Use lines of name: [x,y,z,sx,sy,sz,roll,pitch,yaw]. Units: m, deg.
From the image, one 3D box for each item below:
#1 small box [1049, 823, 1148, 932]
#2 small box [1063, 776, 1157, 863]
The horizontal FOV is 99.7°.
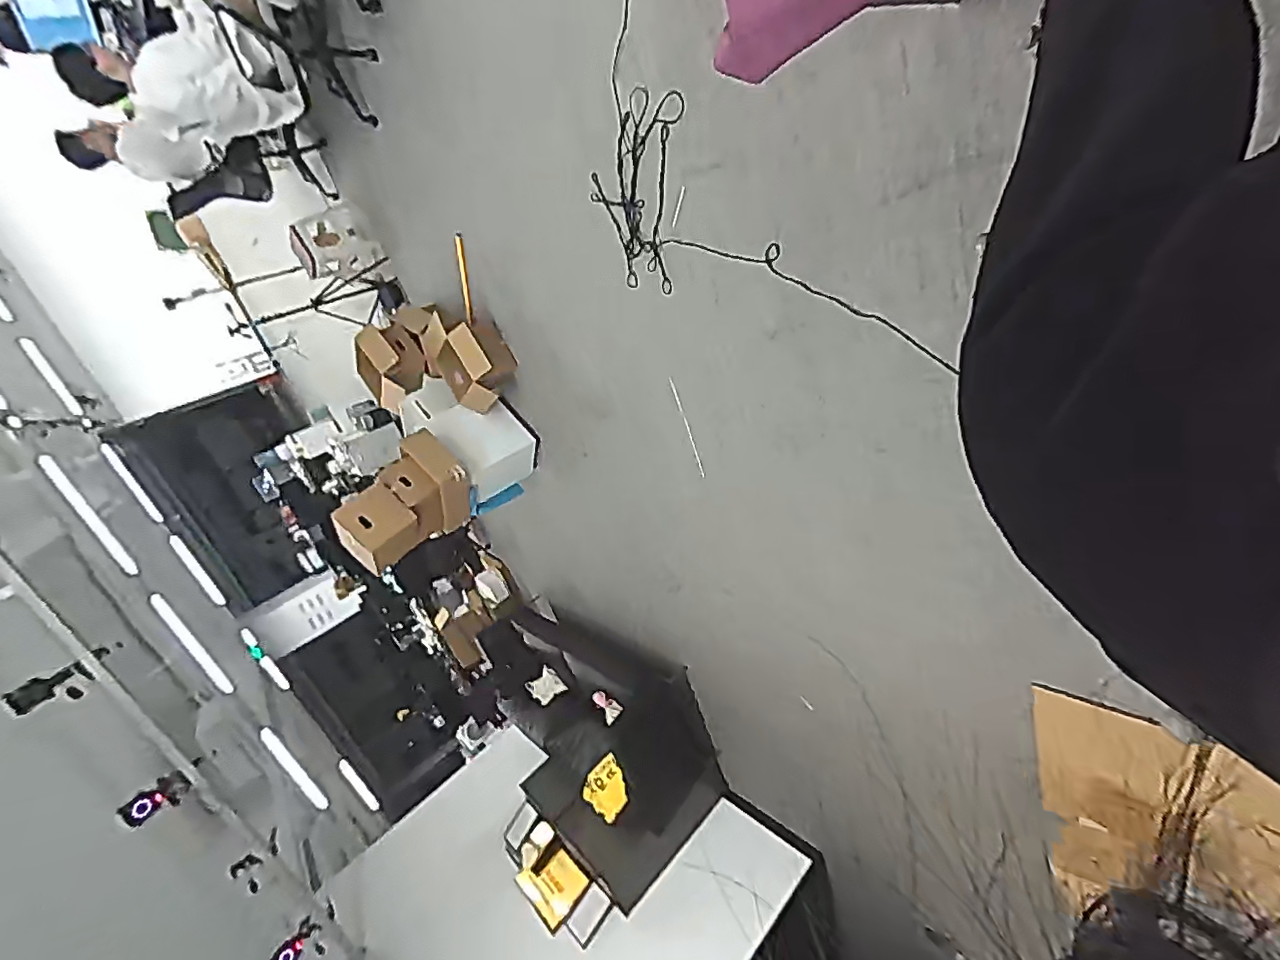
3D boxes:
small box: [1.366,1.165,1.605,0.179,0.176,0.168,-20,103,57]
small box: [1.473,1.079,1.694,0.168,0.176,0.179,28,139,38]
